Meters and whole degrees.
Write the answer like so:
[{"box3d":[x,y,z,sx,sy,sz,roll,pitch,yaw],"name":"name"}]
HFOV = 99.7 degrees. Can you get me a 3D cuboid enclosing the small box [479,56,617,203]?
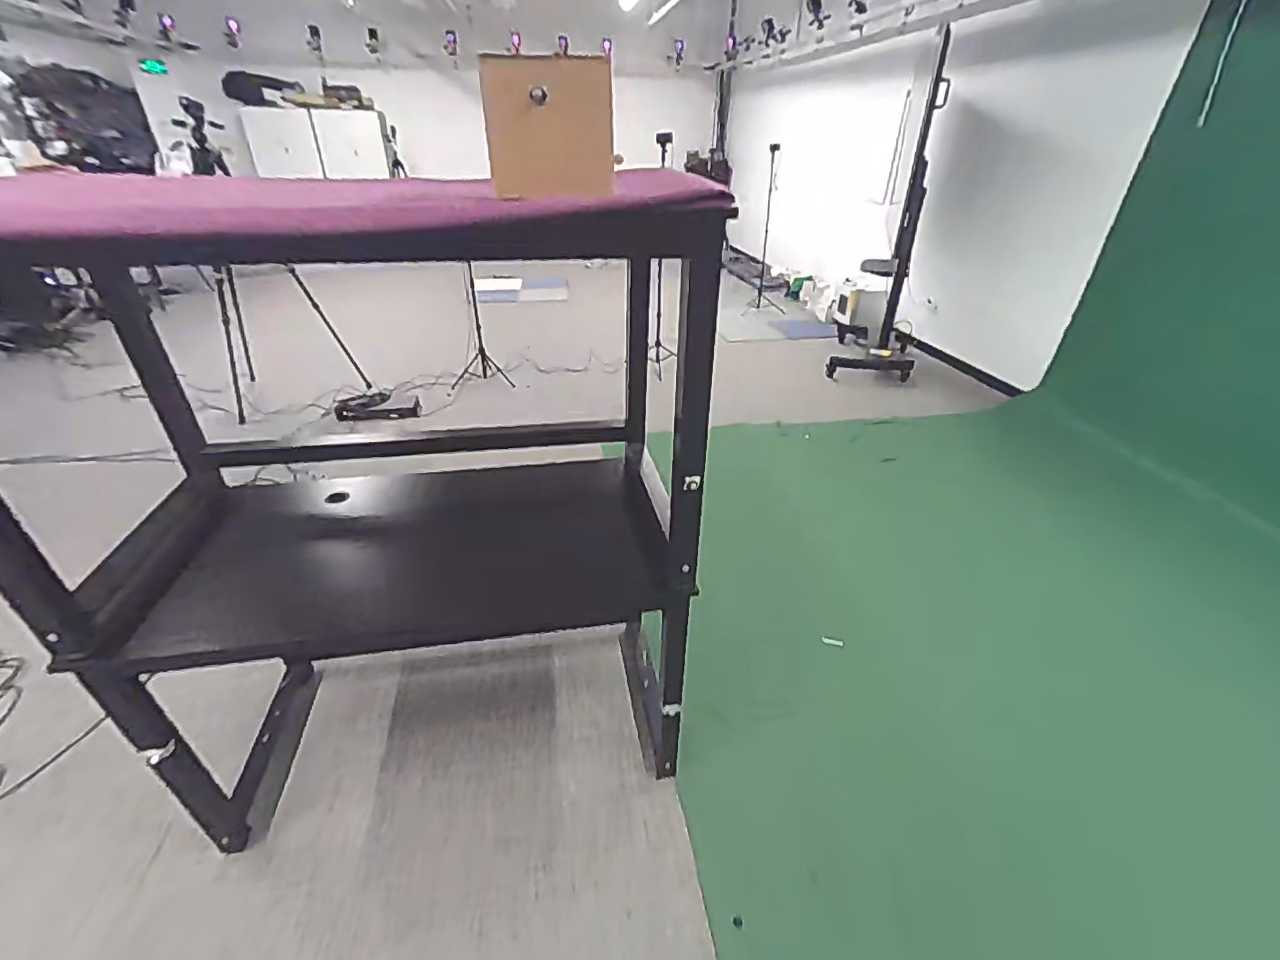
[{"box3d":[-0.126,-0.509,0.804,0.179,0.176,0.168,-2,30,-4],"name":"small box"}]
